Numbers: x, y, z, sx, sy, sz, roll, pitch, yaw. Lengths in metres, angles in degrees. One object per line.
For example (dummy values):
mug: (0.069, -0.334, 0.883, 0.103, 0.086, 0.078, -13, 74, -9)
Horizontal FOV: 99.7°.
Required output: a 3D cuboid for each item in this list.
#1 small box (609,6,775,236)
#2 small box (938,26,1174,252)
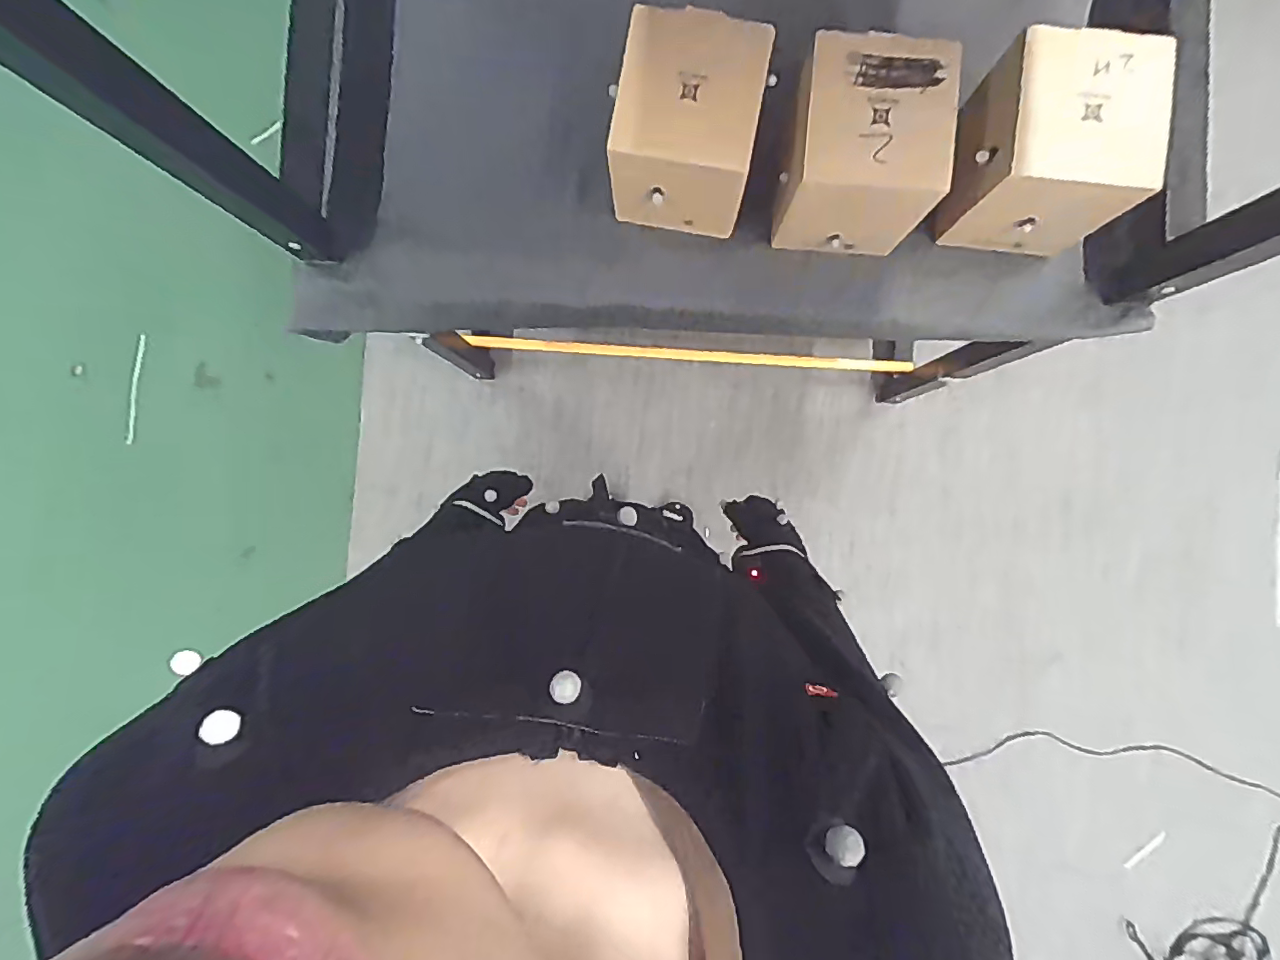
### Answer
small box: (0.062, -0.444, 0.696, 0.168, 0.176, 0.179, 10, 88, 2)
small box: (0.502, -0.411, 0.680, 0.168, 0.176, 0.179, 7, 88, 2)
